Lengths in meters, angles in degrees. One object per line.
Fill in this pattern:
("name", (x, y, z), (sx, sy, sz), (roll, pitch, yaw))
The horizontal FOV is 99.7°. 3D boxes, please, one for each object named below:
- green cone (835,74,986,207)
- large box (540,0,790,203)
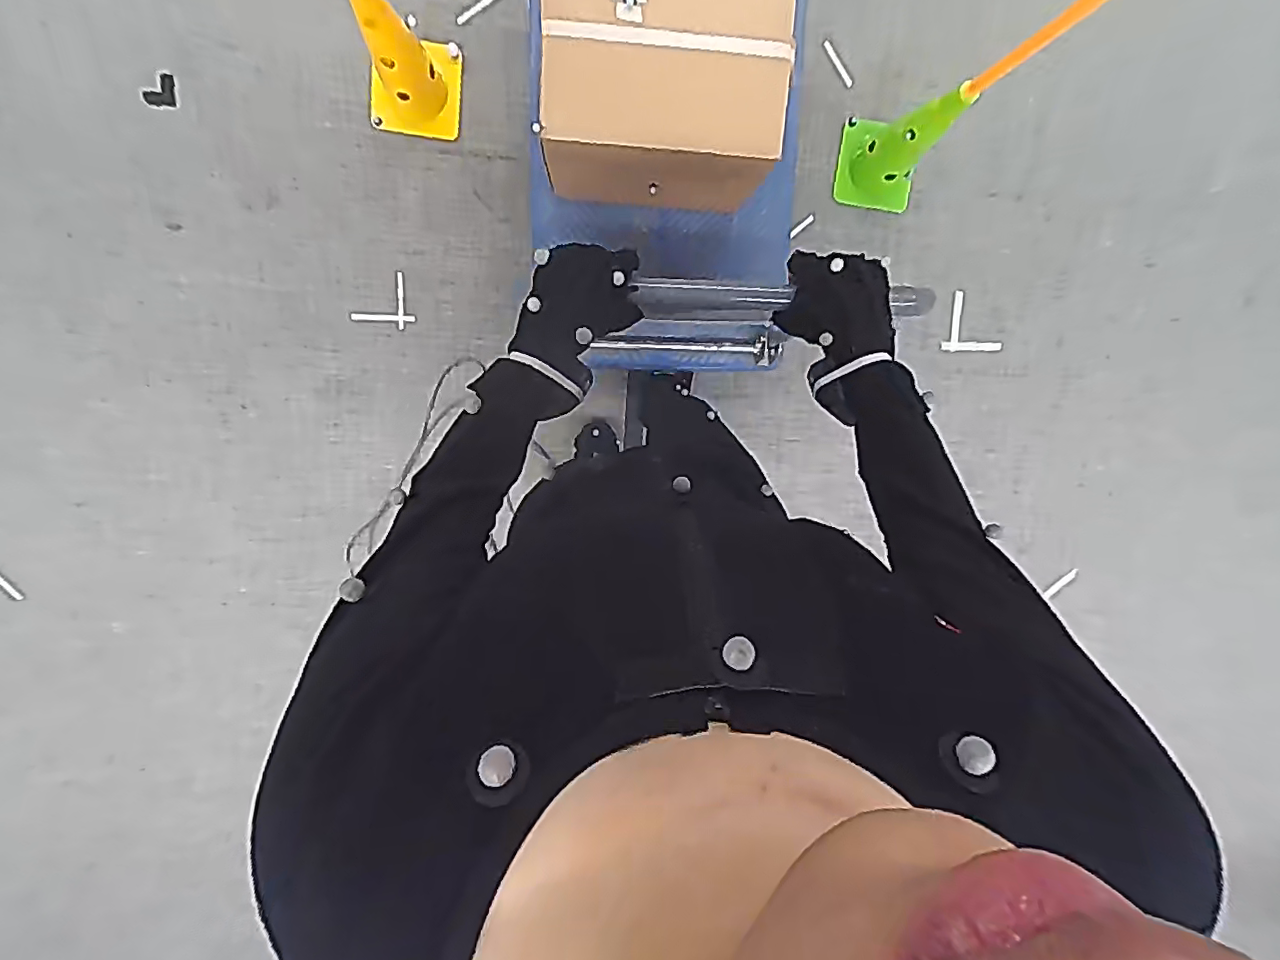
("green cone", (0.618, -0.779, 1.202), (0.202, 0.368, 0.200), (6, 100, -7))
("large box", (0.033, -0.735, 1.013), (0.408, 0.320, 0.320), (2, 100, -4))
